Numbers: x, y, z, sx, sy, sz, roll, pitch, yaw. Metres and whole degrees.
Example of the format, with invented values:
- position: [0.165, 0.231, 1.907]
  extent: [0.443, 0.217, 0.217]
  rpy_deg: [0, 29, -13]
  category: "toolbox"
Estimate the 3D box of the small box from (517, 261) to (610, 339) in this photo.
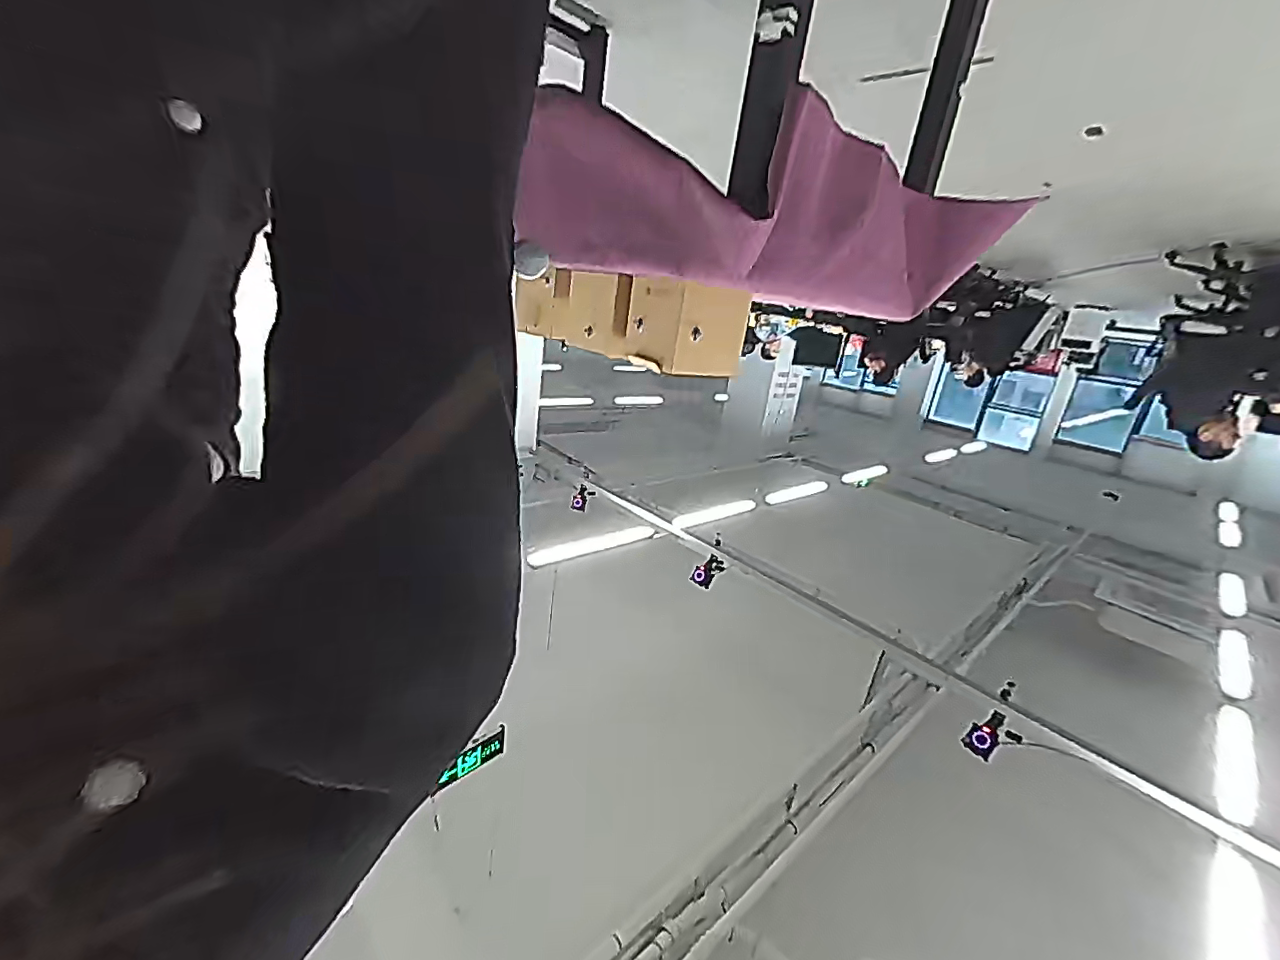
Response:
- position: [-0.199, -0.466, 1.401]
  extent: [0.168, 0.176, 0.179]
  rpy_deg: [24, -155, 39]
  category: "small box"

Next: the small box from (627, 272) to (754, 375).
- position: [0.097, -0.309, 1.066]
  extent: [0.179, 0.176, 0.168]
  rpy_deg: [-6, -156, -35]
  category: "small box"
